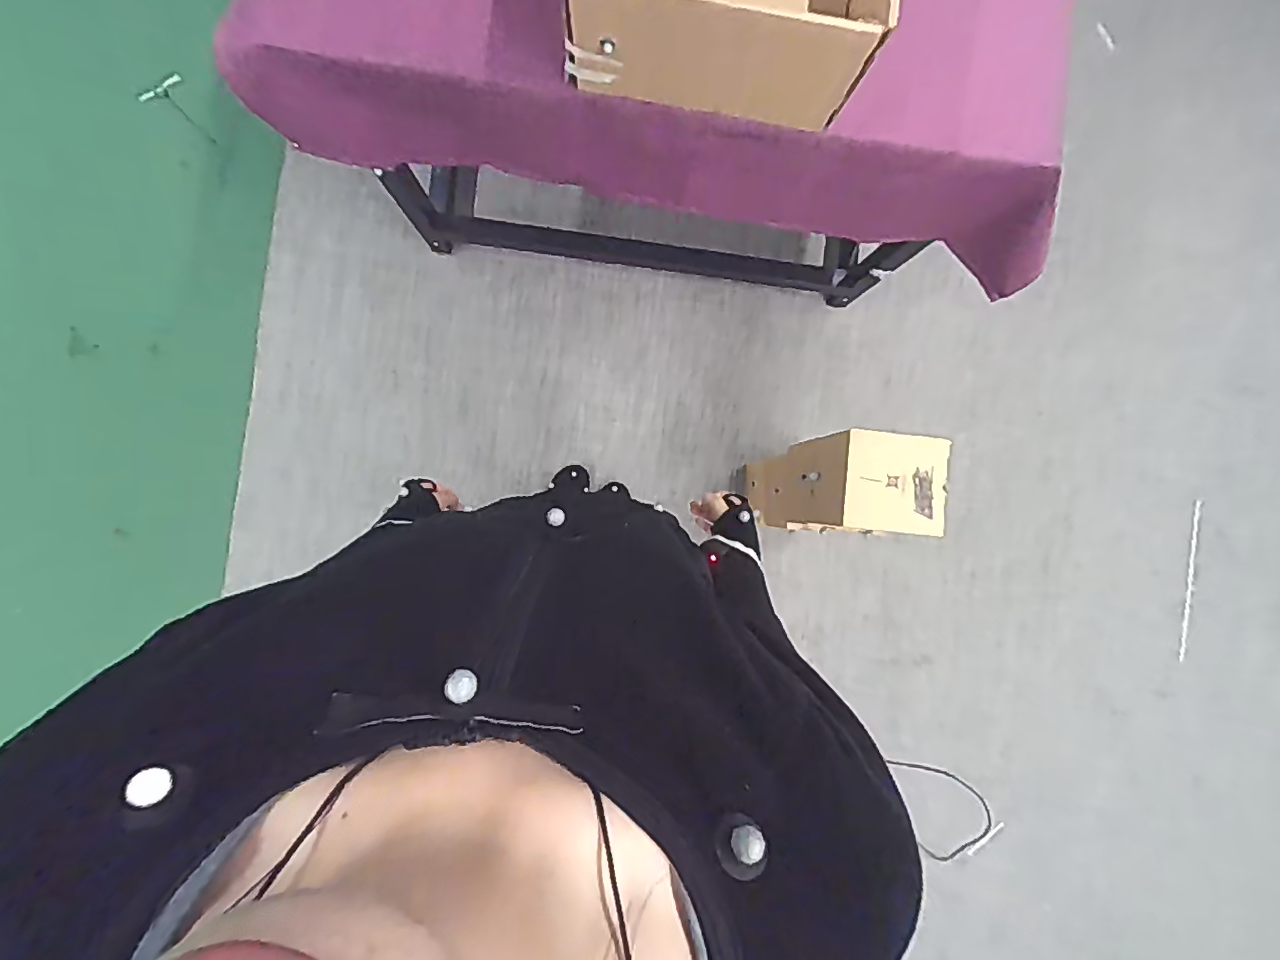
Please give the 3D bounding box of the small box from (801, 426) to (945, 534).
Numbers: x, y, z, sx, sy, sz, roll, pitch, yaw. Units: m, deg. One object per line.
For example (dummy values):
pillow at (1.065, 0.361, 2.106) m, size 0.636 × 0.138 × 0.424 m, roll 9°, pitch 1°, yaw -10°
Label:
small box at (0.412, 0.002, 0.979) m, size 0.179 × 0.176 × 0.168 m, roll 6°, pitch 88°, yaw -3°

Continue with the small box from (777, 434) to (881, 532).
small box at (0.401, 0.009, 1.142) m, size 0.168 × 0.176 × 0.179 m, roll 8°, pitch 88°, yaw -3°
